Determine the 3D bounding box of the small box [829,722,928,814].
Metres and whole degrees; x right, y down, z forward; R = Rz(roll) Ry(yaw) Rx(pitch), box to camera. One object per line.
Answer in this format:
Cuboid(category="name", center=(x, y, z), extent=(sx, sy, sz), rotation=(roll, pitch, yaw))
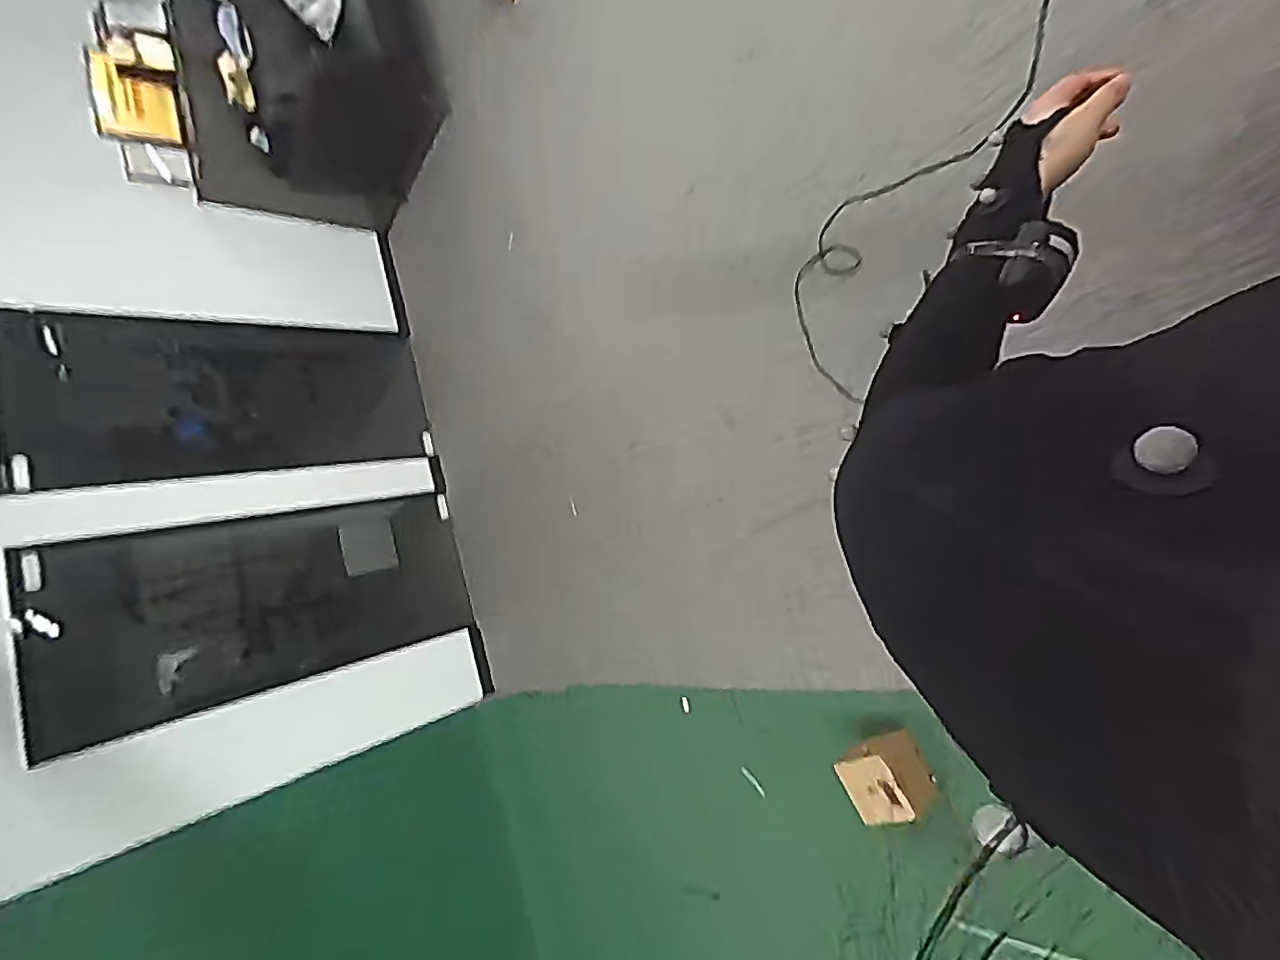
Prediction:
Cuboid(category="small box", center=(0.683, 0.810, 1.532), extent=(0.179, 0.176, 0.168), rotation=(-45, 64, 43))
